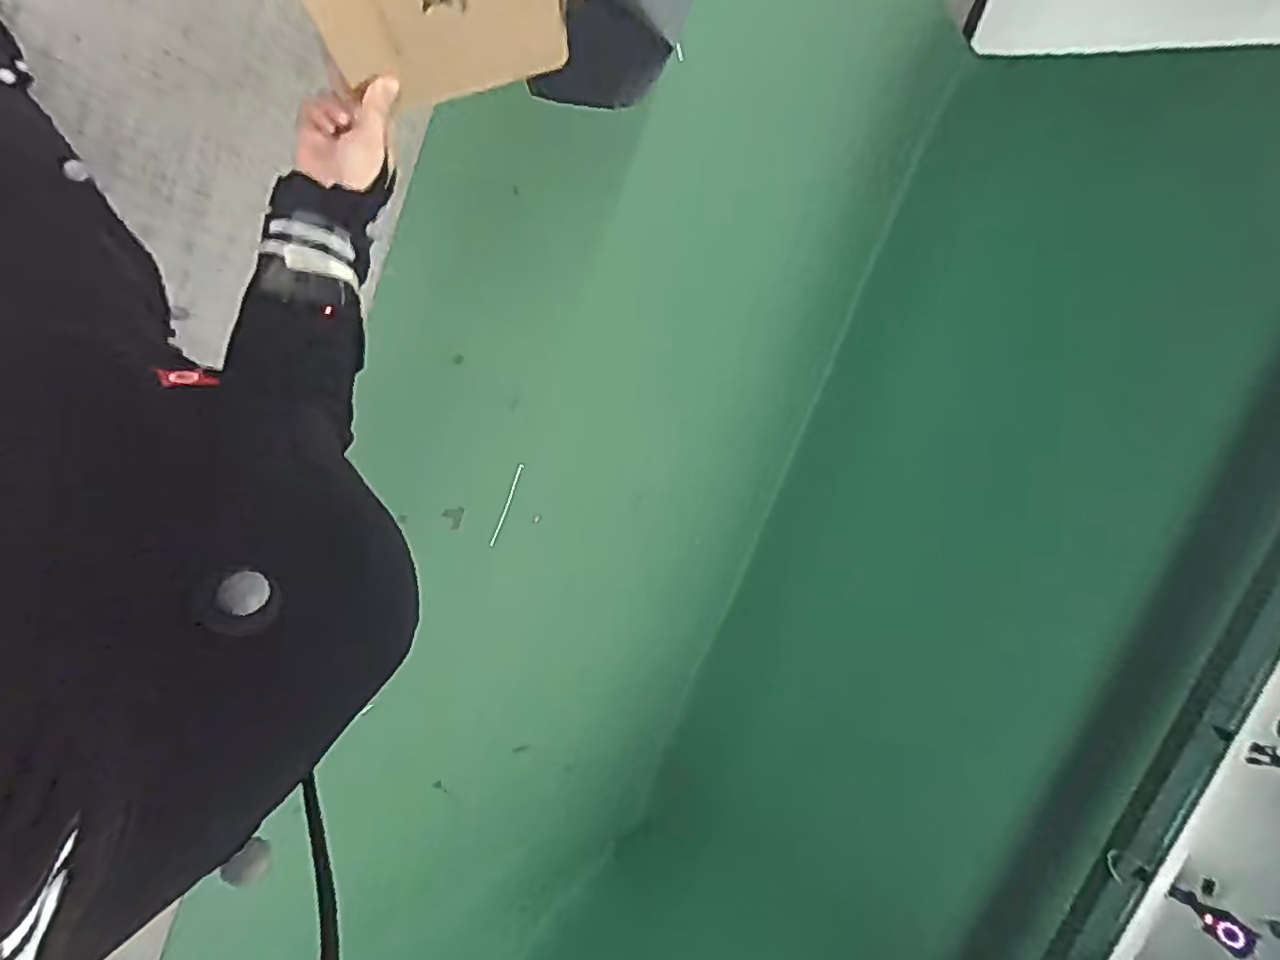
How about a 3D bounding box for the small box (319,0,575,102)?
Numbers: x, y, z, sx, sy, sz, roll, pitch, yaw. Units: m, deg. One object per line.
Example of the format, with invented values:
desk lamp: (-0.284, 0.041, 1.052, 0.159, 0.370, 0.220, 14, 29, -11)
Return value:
small box: (-0.159, -0.420, 0.371, 0.179, 0.176, 0.168, -20, 173, -5)
